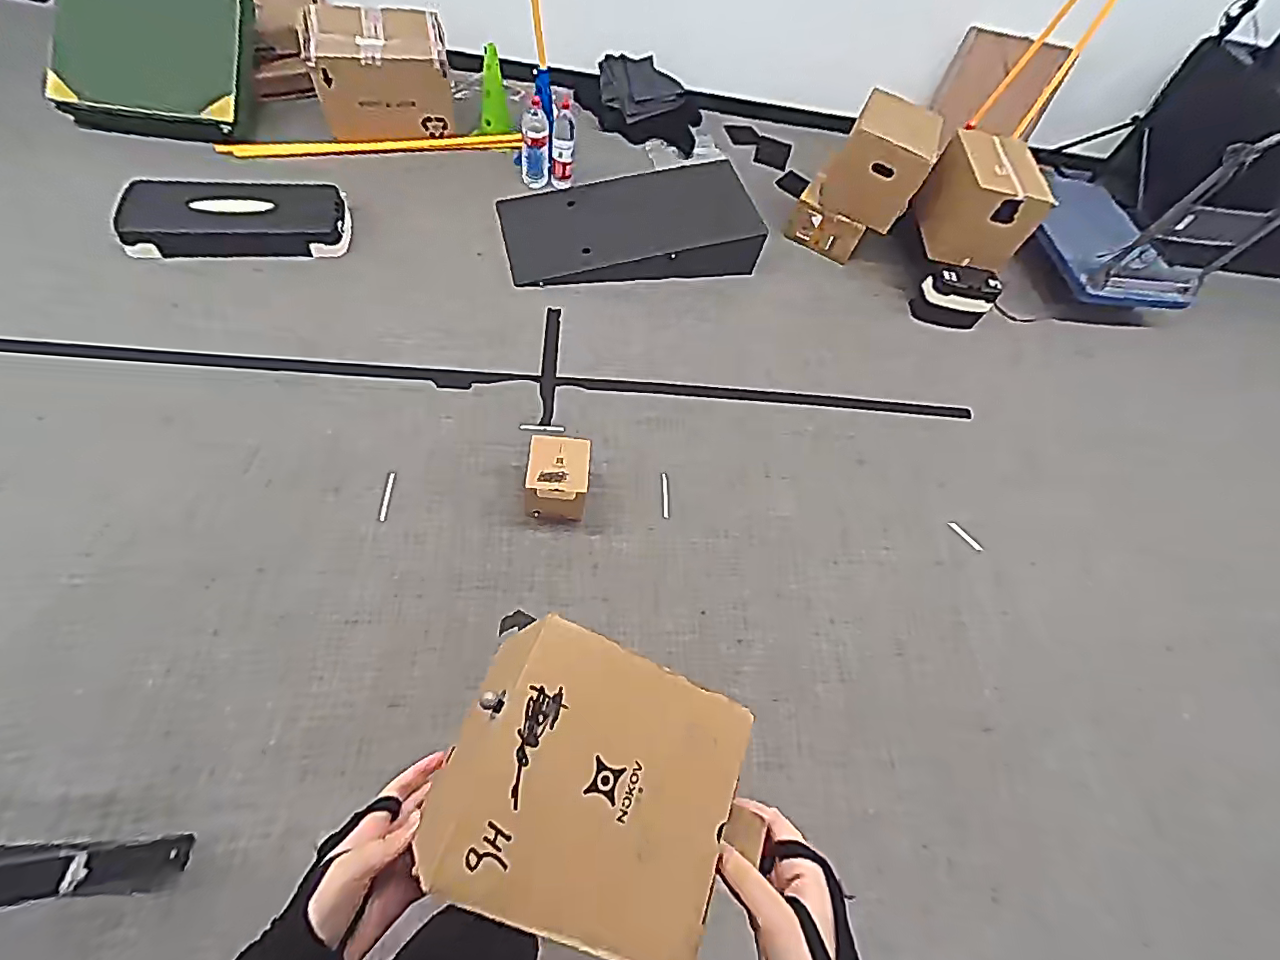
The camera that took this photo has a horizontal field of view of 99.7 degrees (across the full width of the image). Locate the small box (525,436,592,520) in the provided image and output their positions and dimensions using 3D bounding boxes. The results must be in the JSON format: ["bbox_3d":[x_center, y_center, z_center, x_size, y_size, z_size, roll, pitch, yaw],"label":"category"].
[{"bbox_3d":[-0.231,0.001,1.535,0.168,0.176,0.179,6,59,-8],"label":"small box"}]

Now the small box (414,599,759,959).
[{"bbox_3d":[-0.045,0.213,0.409,0.179,0.176,0.168,32,58,-12],"label":"small box"}]
